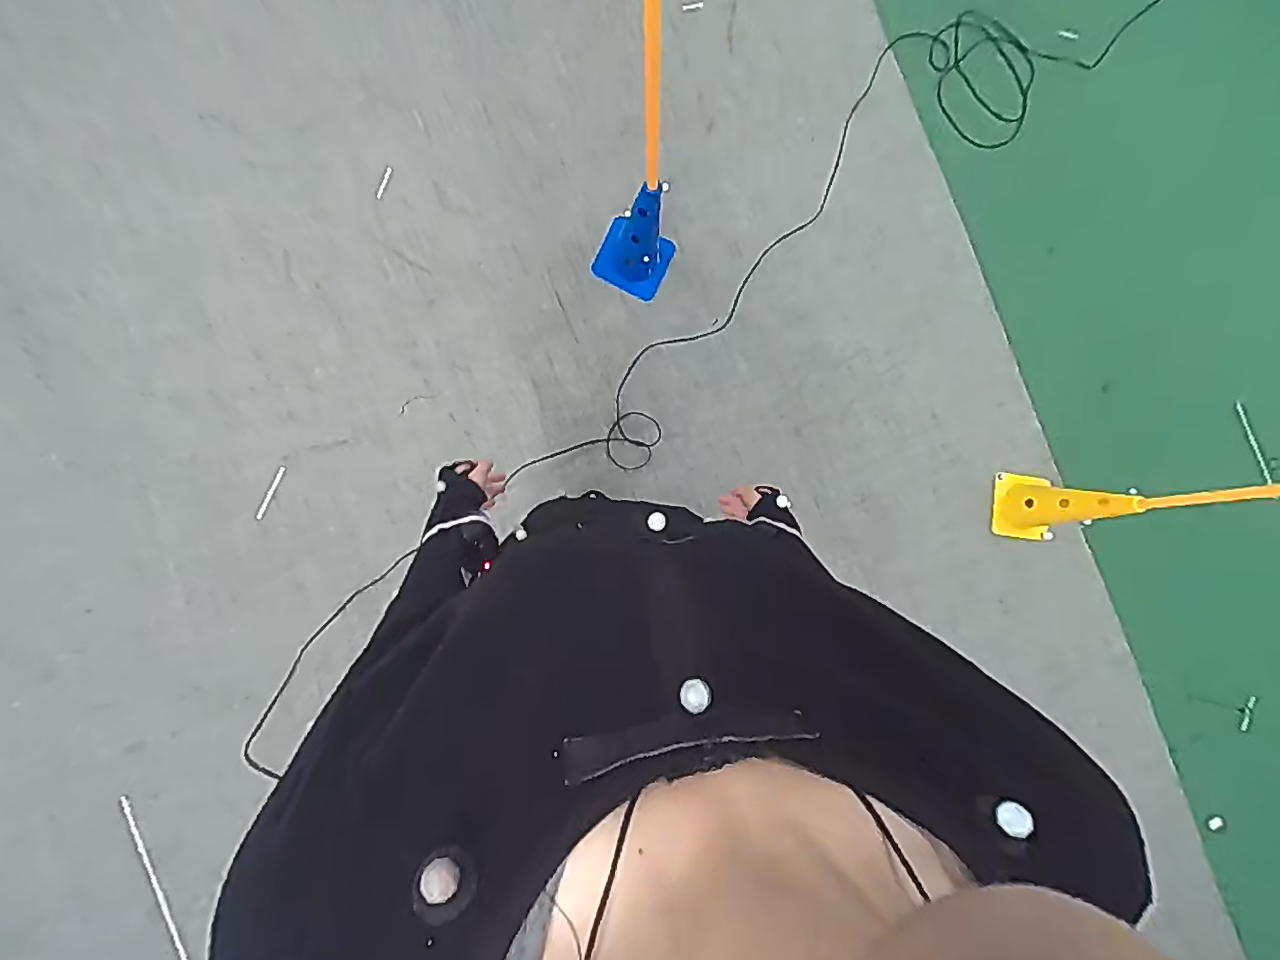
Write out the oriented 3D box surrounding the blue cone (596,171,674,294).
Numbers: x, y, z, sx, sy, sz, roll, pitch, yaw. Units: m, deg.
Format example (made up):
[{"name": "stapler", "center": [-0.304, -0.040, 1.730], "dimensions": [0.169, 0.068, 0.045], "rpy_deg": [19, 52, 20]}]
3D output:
[{"name": "blue cone", "center": [0.005, -0.649, 1.386], "dimensions": [0.193, 0.380, 0.192], "rpy_deg": [23, 83, -5]}]
